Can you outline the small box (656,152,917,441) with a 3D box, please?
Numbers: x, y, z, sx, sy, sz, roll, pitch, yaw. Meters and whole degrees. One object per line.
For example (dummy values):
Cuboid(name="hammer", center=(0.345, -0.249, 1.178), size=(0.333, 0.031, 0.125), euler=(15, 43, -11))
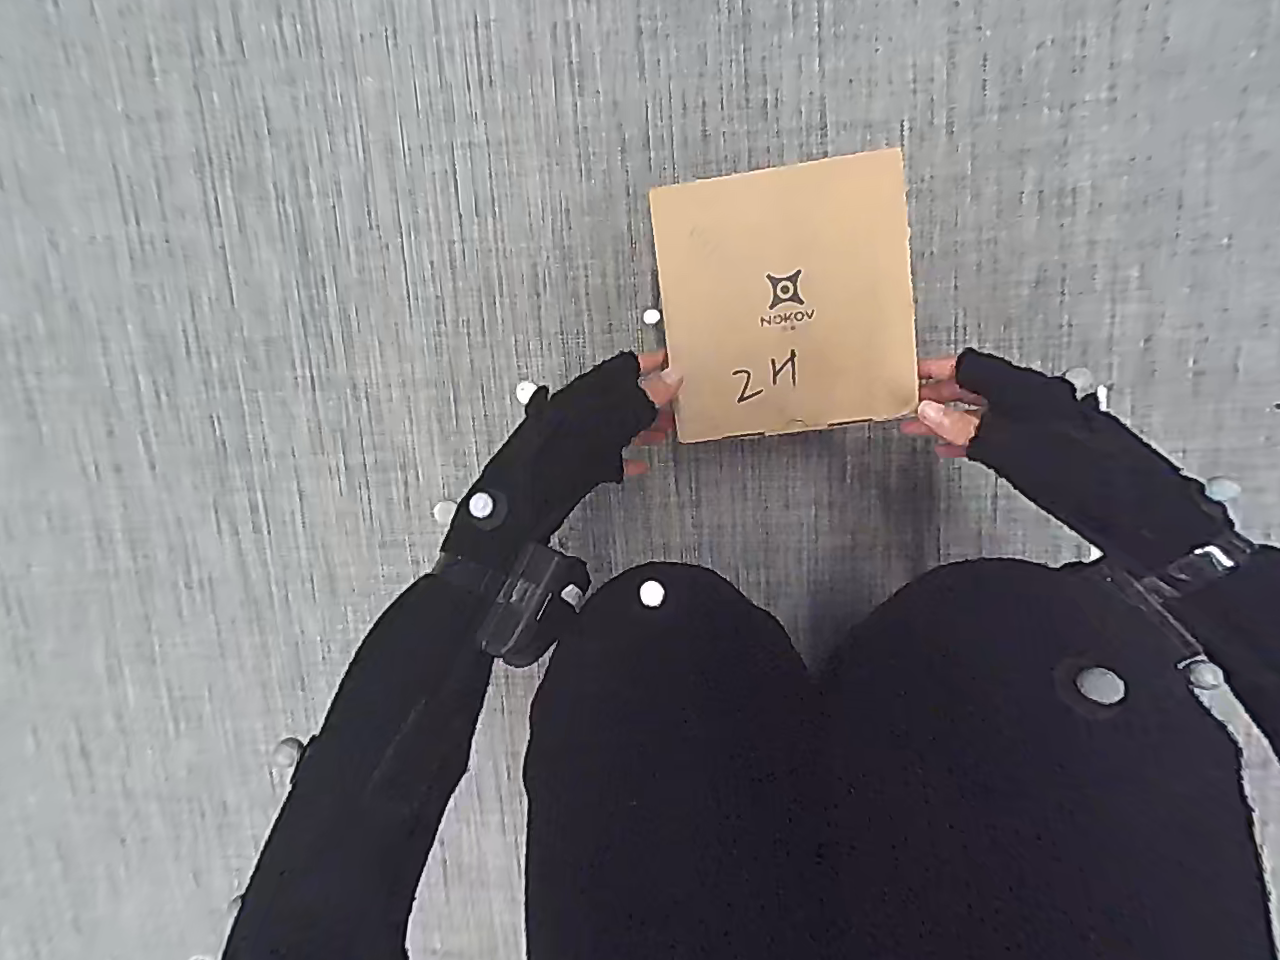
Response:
Cuboid(name="small box", center=(0.103, -0.127, 0.441), size=(0.168, 0.176, 0.179), euler=(-5, 96, 6))
